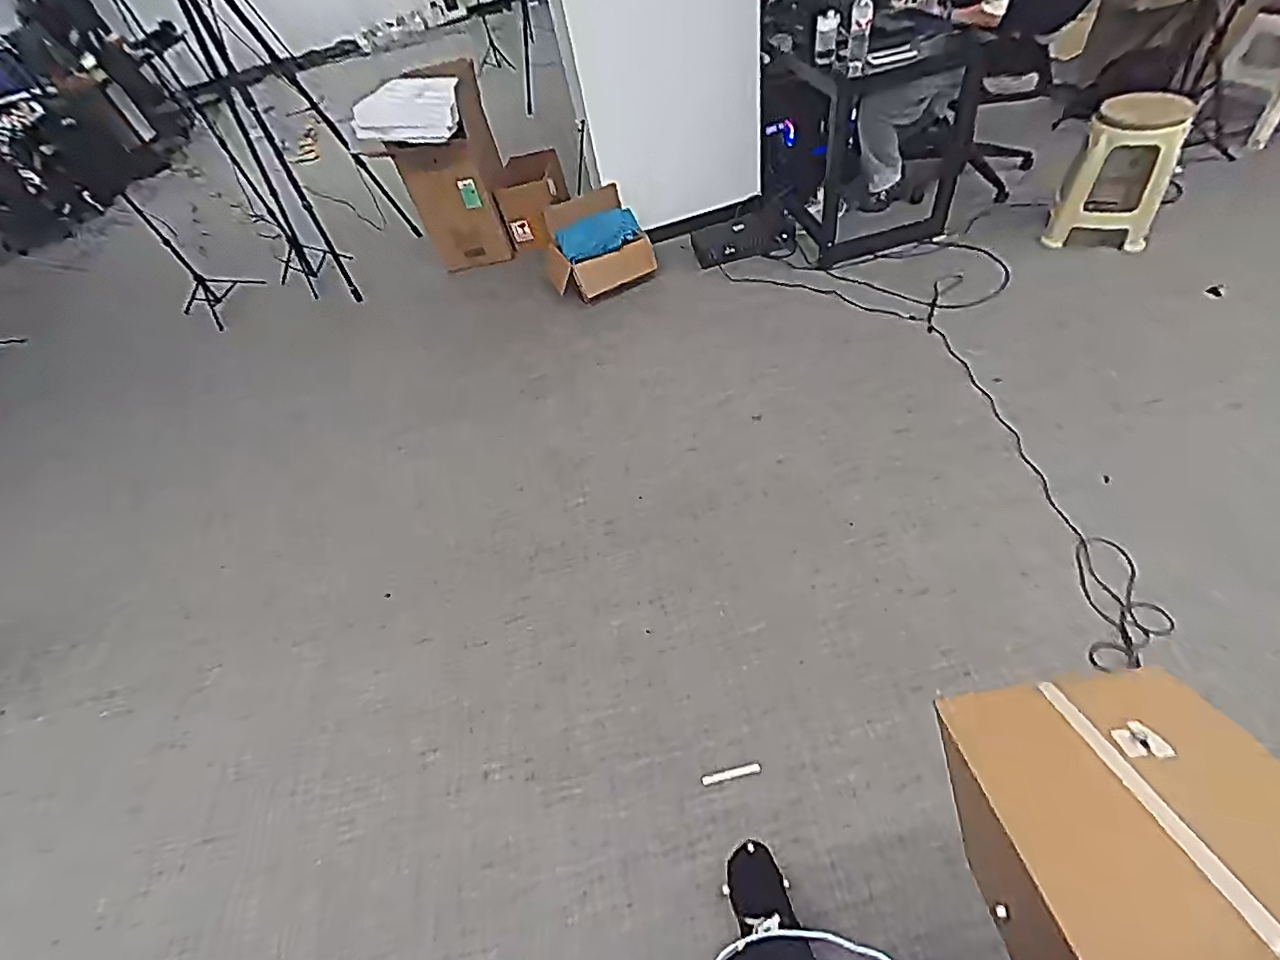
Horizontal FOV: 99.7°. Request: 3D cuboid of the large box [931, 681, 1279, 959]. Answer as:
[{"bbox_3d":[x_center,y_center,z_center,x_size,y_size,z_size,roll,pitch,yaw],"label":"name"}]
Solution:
[{"bbox_3d":[0.621,0.518,0.665,0.320,0.320,0.408,-13,10,11],"label":"large box"}]
